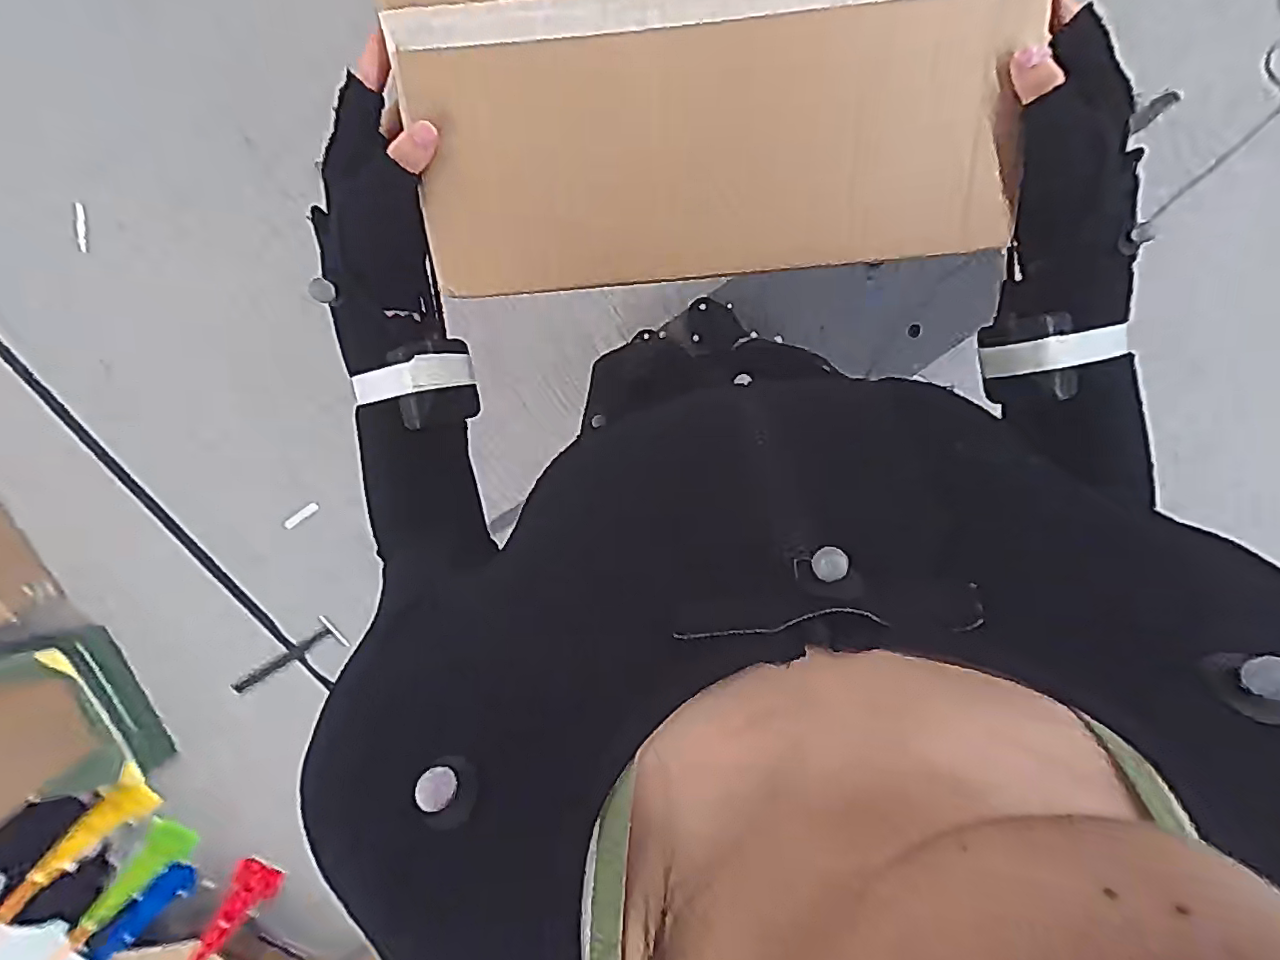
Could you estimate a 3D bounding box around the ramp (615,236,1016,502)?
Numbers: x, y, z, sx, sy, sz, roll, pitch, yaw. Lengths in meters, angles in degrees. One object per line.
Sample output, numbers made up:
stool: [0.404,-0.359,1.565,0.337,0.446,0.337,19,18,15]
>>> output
ramp: [0.471,-0.408,1.440,0.991,0.206,0.509,-34,102,14]

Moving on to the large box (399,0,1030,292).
large box: [0.049,-0.354,0.476,0.408,0.320,0.320,-4,112,1]
